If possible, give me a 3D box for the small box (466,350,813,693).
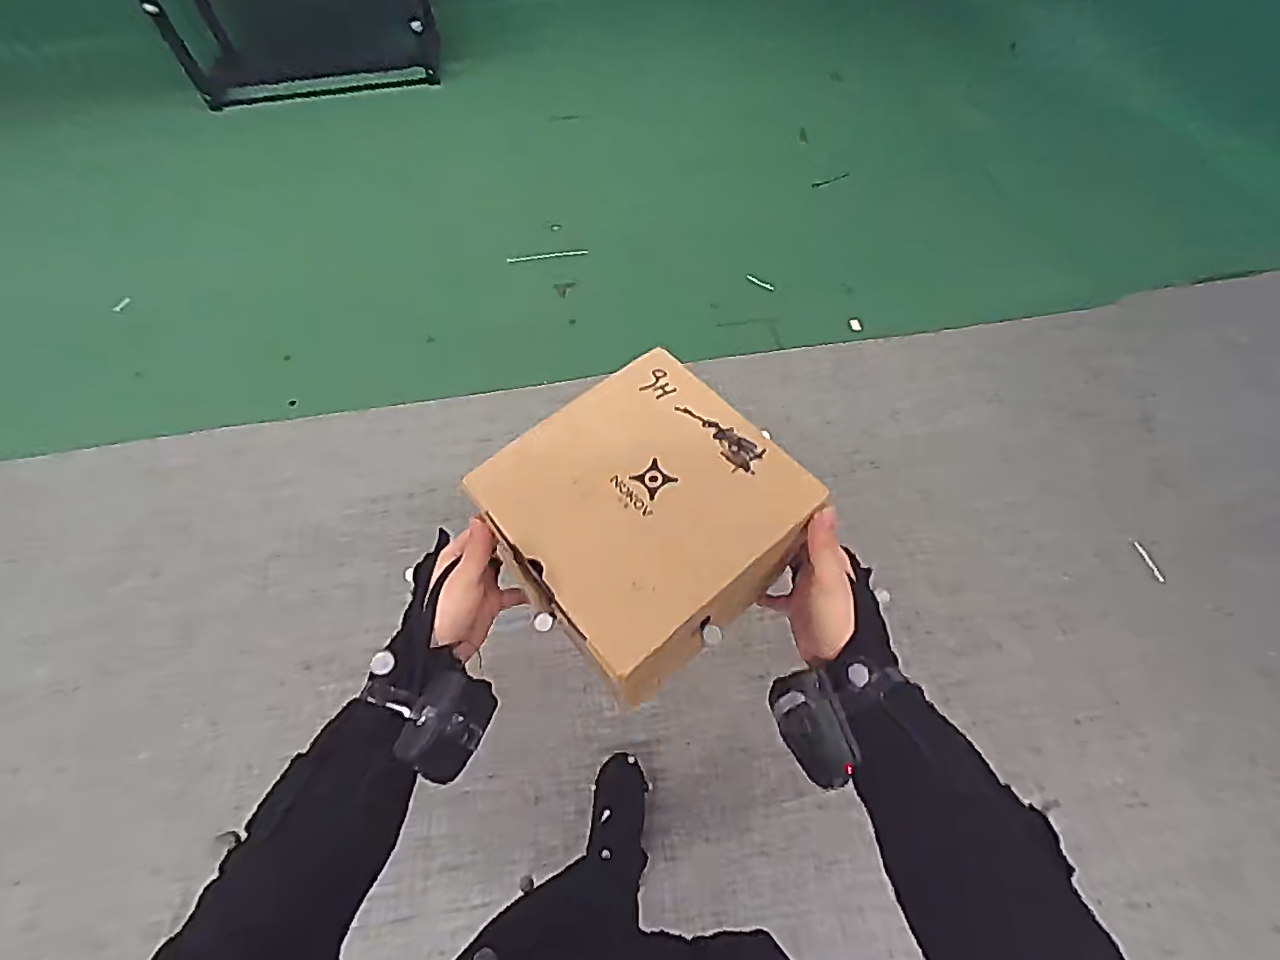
[{"bbox_3d":[0.002,0.041,0.426,0.179,0.176,0.168,-37,66,-17],"label":"small box"}]
